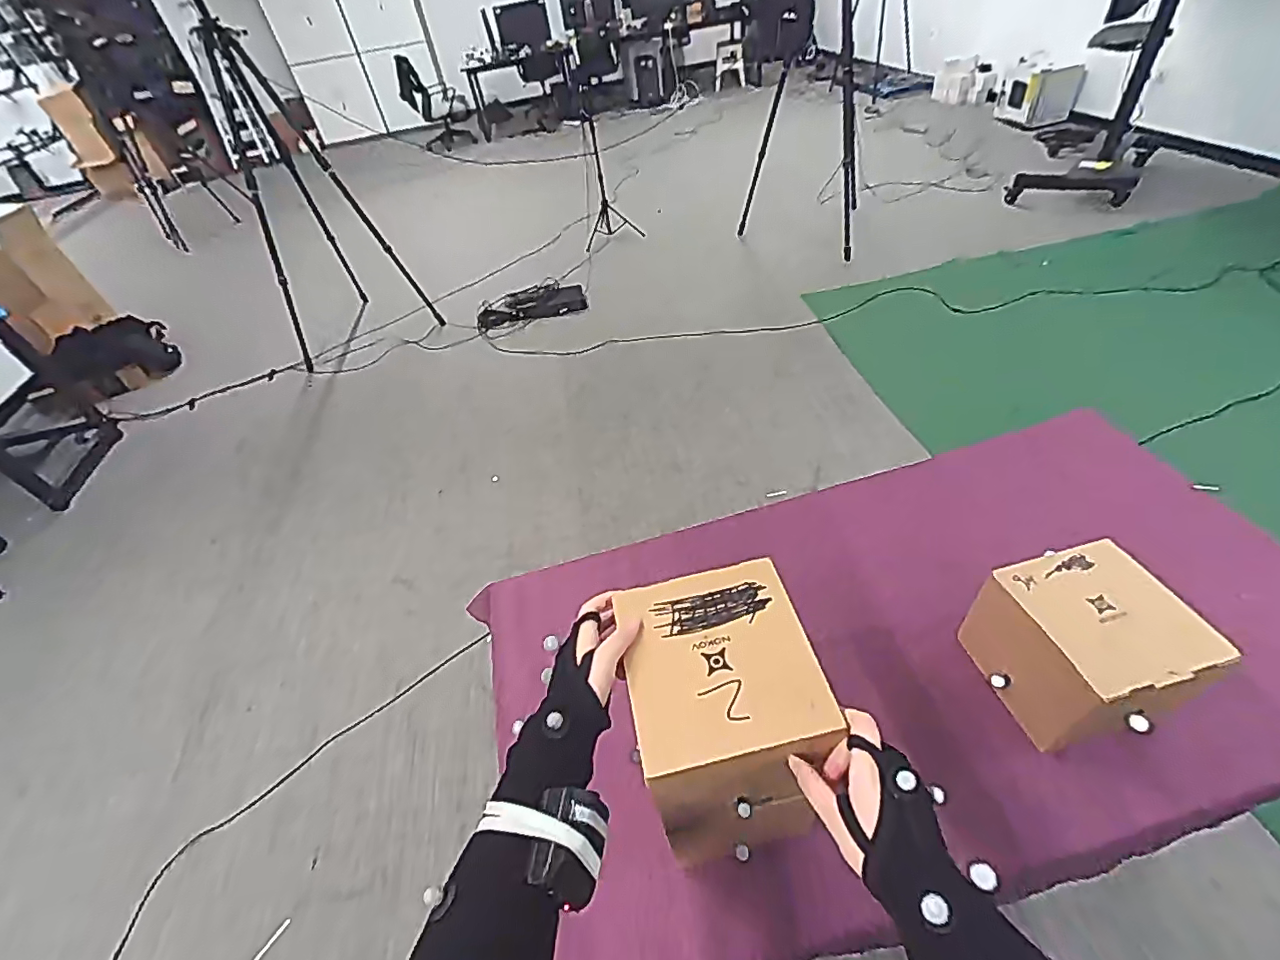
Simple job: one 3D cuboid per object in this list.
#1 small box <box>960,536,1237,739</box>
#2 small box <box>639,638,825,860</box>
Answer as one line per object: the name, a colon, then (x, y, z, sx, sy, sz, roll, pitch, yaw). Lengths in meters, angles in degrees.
small box: (0.551, 0.205, 0.684, 0.168, 0.176, 0.179, -14, 46, -4)
small box: (0.101, 0.325, 0.654, 0.168, 0.176, 0.179, -14, 46, -2)
